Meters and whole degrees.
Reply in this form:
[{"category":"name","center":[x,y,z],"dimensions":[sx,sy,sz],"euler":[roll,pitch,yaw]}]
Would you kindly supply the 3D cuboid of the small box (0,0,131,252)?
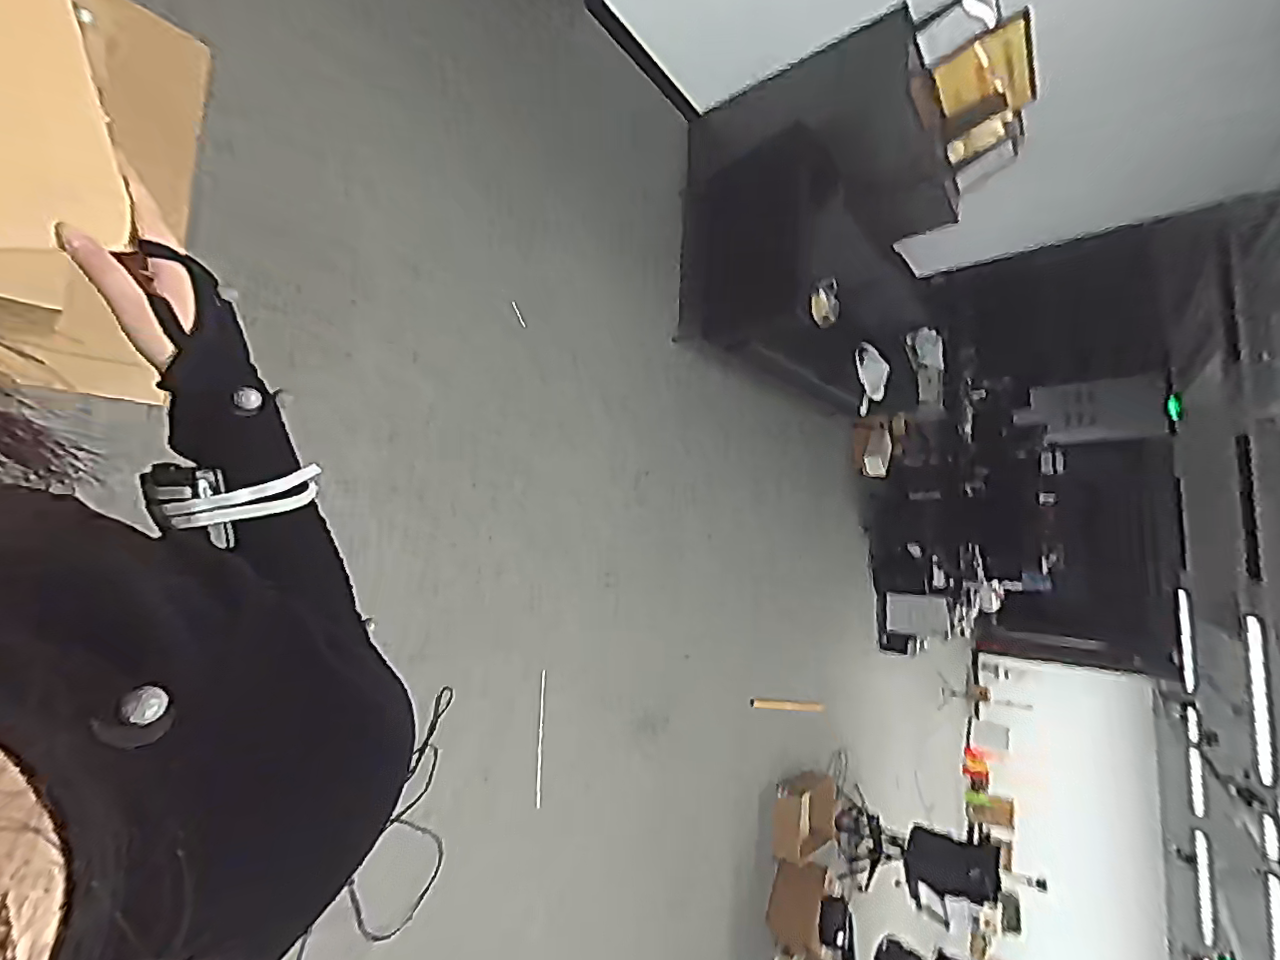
[{"category":"small box","center":[-0.440,-0.229,0.310],"dimensions":[0.168,0.176,0.179],"euler":[-25,124,-45]}]
